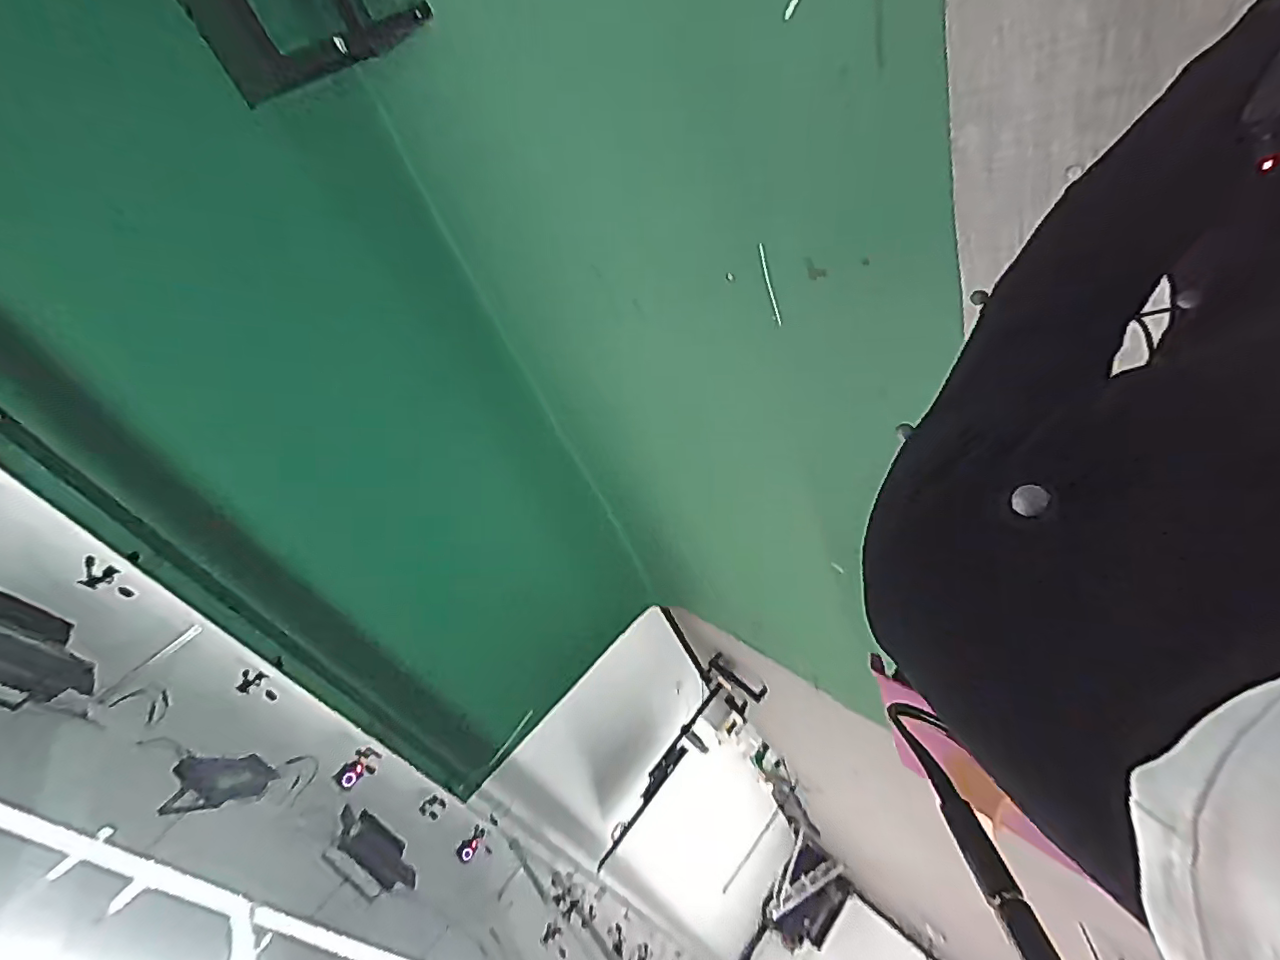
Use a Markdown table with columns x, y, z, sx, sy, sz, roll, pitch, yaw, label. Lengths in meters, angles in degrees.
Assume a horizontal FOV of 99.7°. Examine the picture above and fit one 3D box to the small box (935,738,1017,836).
| x | y | z | sx | sy | sz | roll | pitch | yaw | label |
| --- | --- | --- | --- | --- | --- | --- | --- | --- | --- |
| 1.034 | 0.937 | 1.659 | 0.168 | 0.176 | 0.179 | 20 | 147 | 46 | small box |
